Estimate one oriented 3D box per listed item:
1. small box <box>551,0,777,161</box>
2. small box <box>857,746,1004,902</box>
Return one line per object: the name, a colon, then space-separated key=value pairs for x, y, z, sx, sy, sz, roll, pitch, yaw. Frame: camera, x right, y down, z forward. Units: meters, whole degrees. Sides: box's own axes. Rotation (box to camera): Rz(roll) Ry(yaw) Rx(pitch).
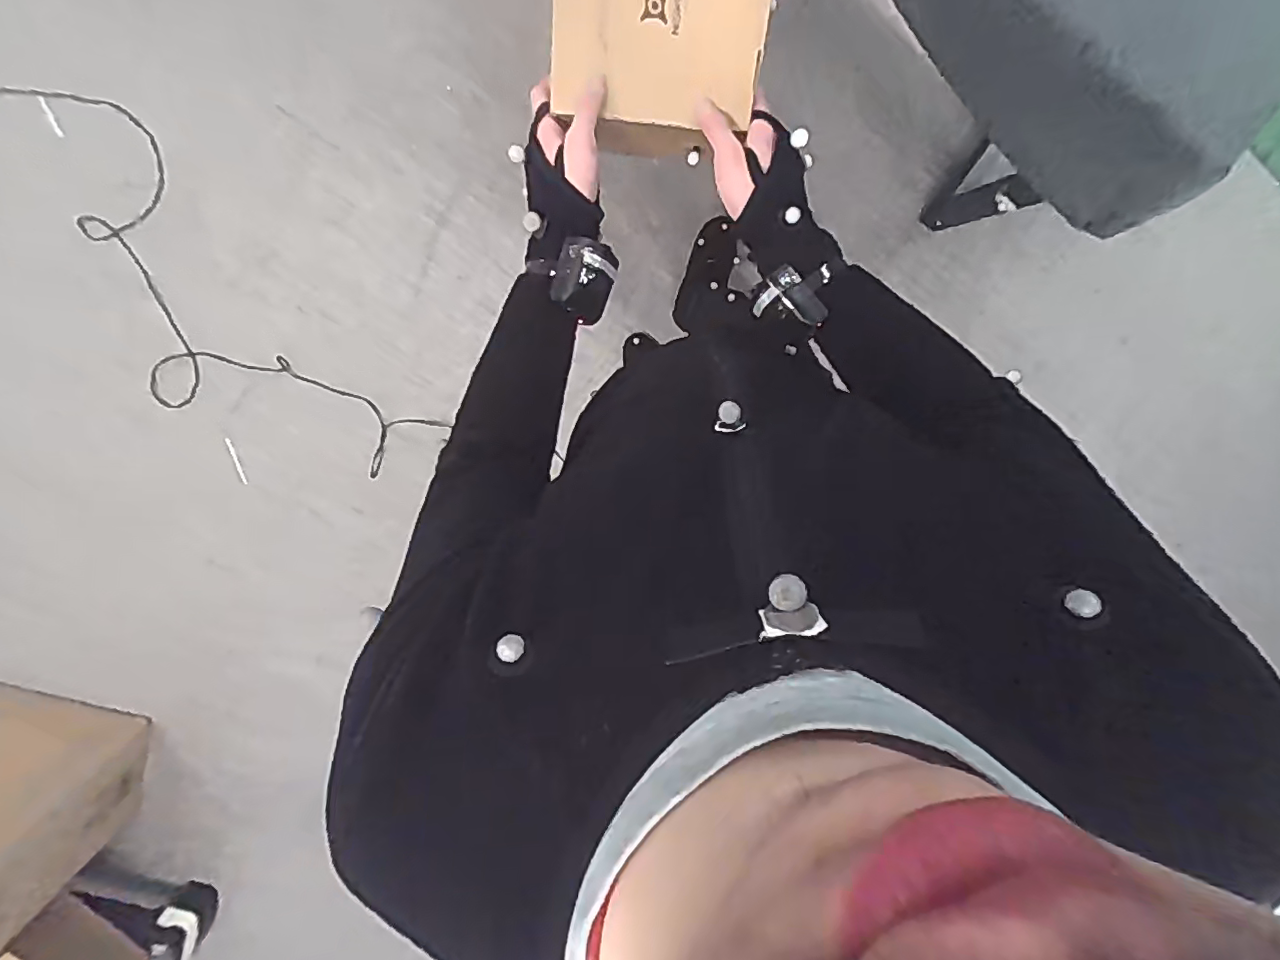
small box: x=0.022 y=-0.406 z=0.496 sx=0.179 sy=0.176 sz=0.168 roll=5 pitch=110 yaw=0
small box: x=0.570 y=0.690 z=1.097 sx=0.168 sy=0.176 sz=0.179 roll=36 pitch=102 yaw=-12
